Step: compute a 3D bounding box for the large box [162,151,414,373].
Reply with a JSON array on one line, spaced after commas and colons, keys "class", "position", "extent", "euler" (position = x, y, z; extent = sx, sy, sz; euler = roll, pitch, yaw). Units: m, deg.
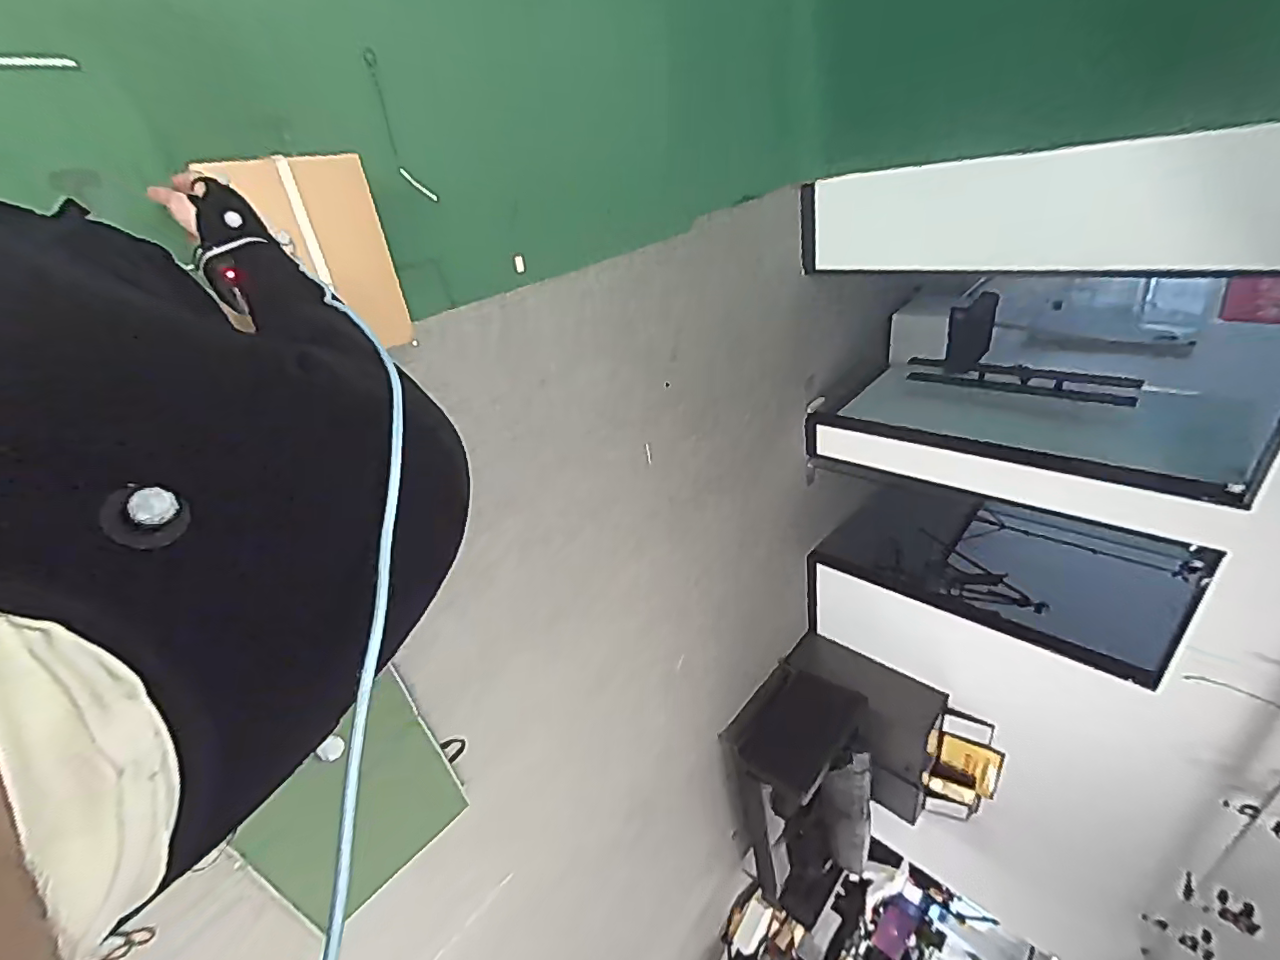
[{"class": "large box", "position": [-0.800, -0.506, 1.256], "extent": [0.320, 0.320, 0.408], "euler": [-32, 127, -36]}]
